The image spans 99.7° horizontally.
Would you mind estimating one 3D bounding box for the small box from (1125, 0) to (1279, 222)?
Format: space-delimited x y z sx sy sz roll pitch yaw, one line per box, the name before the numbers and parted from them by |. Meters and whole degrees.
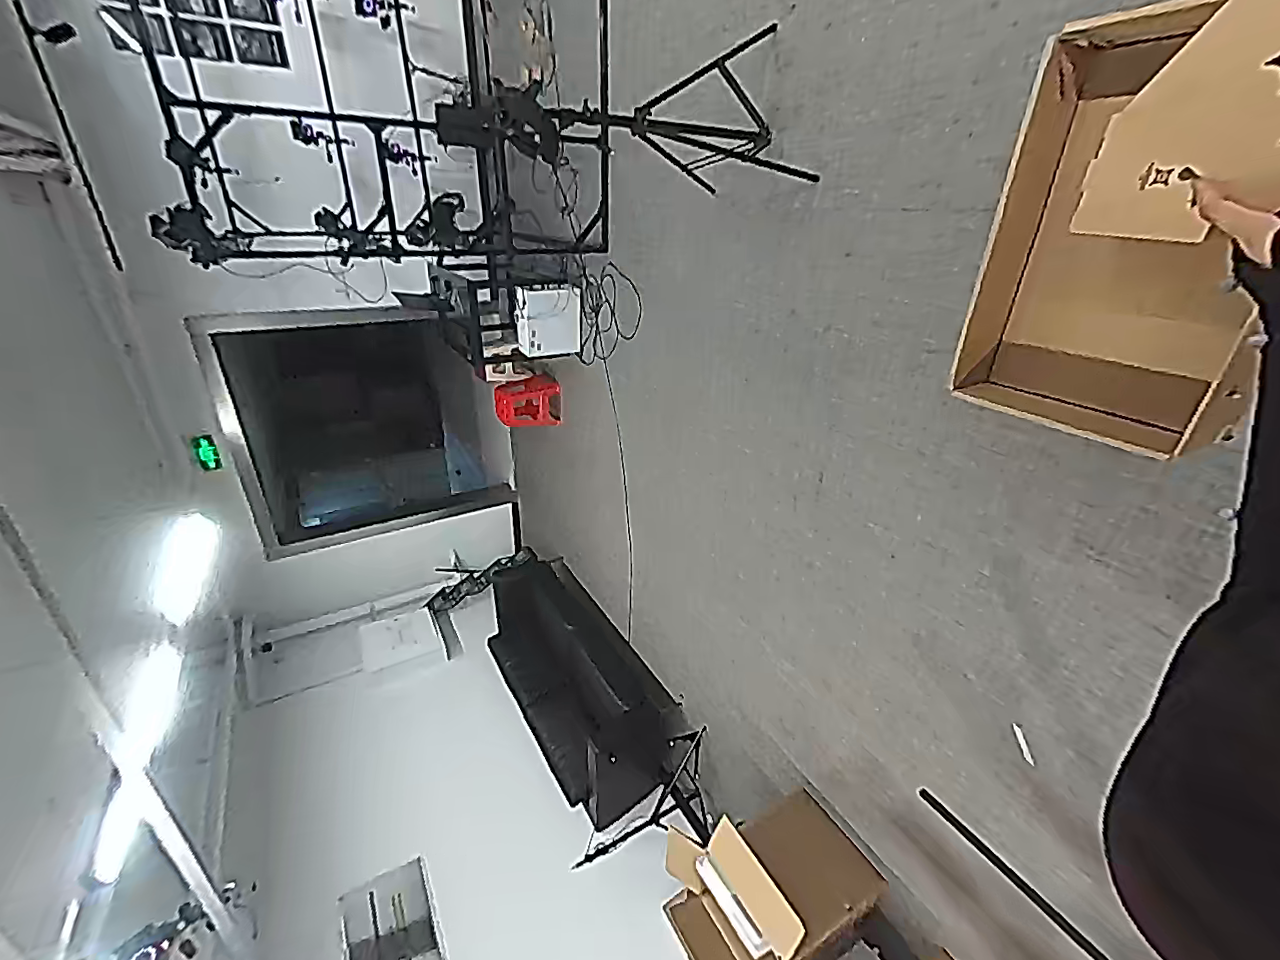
small box | 0.588 -0.333 0.456 0.168 0.176 0.179 121 135 -54
